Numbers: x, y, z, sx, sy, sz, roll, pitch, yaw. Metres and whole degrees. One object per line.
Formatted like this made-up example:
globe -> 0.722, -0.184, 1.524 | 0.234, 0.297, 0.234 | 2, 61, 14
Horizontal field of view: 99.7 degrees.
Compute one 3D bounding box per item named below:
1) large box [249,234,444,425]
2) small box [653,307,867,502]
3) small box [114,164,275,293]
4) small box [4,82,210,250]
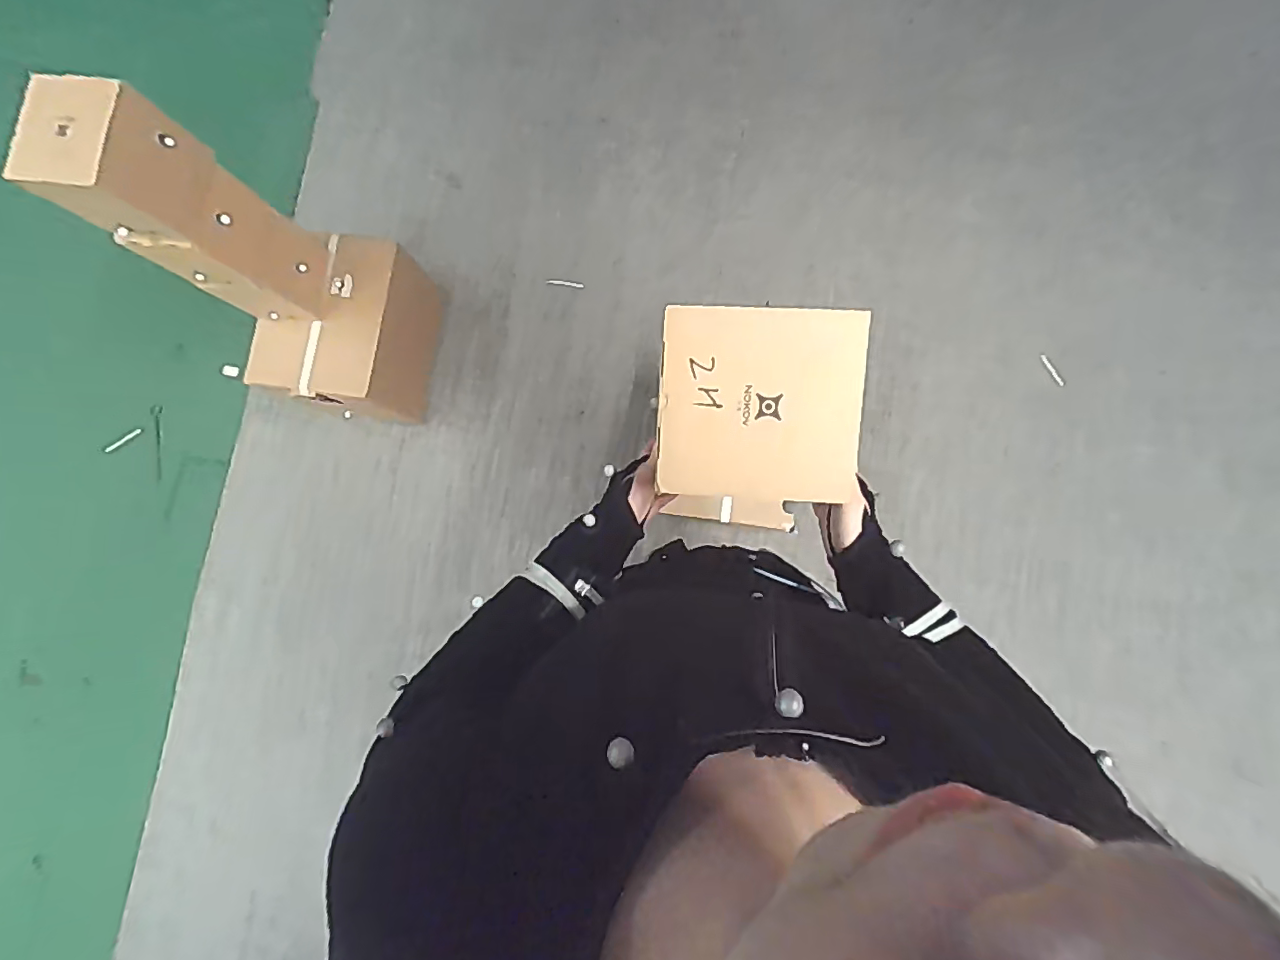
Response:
large box -> -0.764, -0.385, 1.461 | 0.320, 0.320, 0.408 | 7, 84, 4
small box -> 0.109, -0.076, 0.552 | 0.179, 0.176, 0.168 | 3, 97, 6
small box -> -0.864, -0.494, 1.068 | 0.168, 0.176, 0.179 | 6, 85, 7
small box -> -0.874, -0.517, 0.906 | 0.168, 0.176, 0.179 | 8, 86, 7
